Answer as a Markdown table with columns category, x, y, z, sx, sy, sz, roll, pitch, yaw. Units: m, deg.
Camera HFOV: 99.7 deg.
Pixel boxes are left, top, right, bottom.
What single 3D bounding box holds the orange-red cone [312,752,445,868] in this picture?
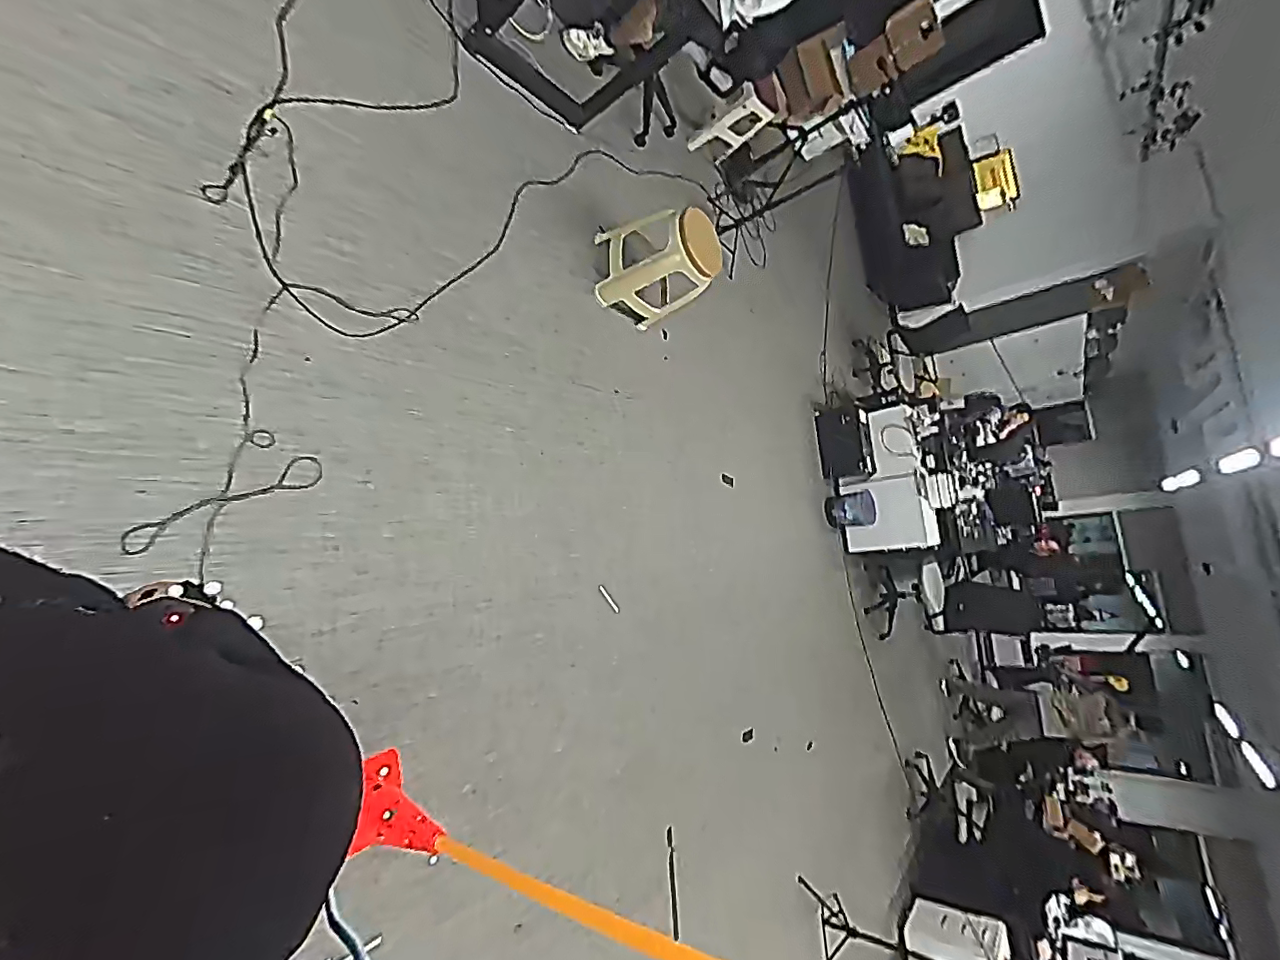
| category | x | y | z | sx | sy | sz | roll | pitch | yaw |
| --- | --- | --- | --- | --- | --- | --- | --- | --- | --- |
| orange-red cone | -0.537 | 0.750 | 1.178 | 0.199 | 0.360 | 0.198 | -2 | 82 | -50 |
